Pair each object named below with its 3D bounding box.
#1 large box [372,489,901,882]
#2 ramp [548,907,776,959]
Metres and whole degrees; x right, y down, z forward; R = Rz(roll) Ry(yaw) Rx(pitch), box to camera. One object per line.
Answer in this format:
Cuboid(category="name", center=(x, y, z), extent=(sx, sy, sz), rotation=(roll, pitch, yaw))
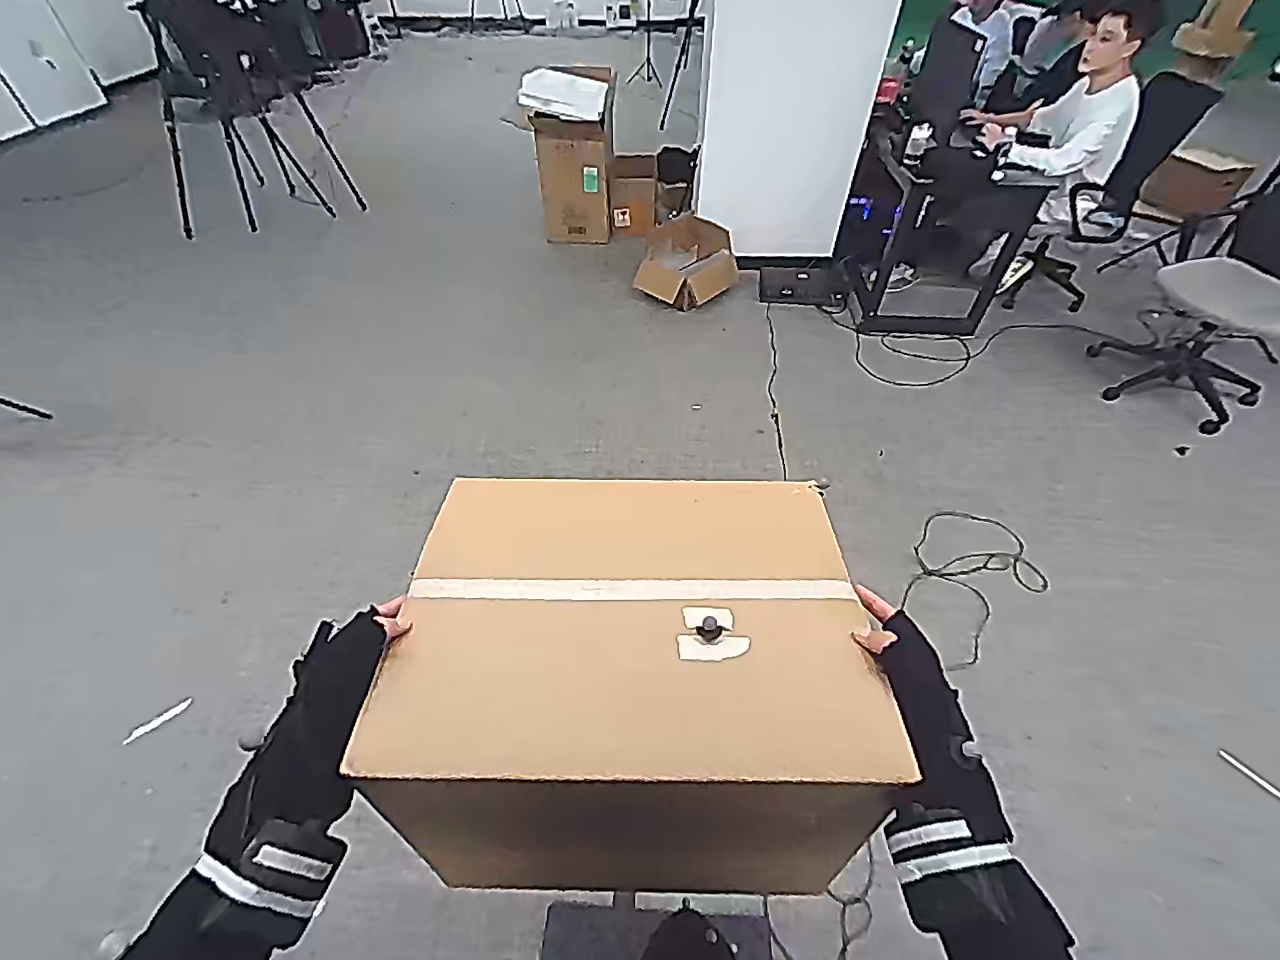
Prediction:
Cuboid(category="large box", center=(-0.004, 0.223, 0.606), extent=(0.408, 0.320, 0.320), rotation=(1, 41, 1))
Cuboid(category="ramp", center=(0.023, 1.272, 0.816), extent=(0.509, 0.206, 0.991), rotation=(0, 47, 2))
